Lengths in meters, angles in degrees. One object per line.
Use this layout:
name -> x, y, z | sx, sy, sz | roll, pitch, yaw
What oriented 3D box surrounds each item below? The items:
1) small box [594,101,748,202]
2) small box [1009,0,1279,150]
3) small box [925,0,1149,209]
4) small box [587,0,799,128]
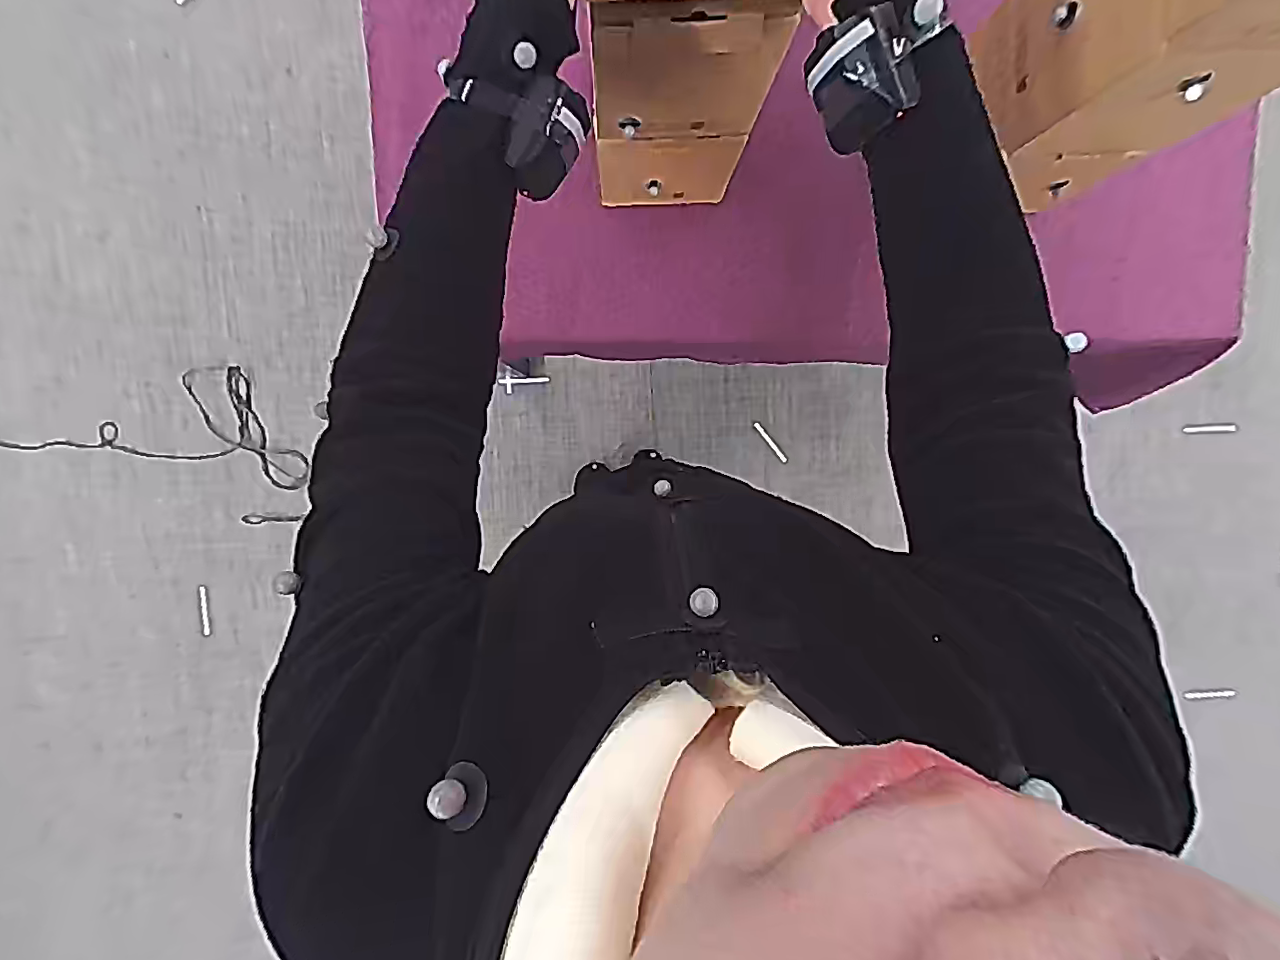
small box -> 0.028, -0.460, 0.650 | 0.168, 0.176, 0.179 | -3, 96, -2
small box -> 0.483, -0.434, 0.505 | 0.179, 0.176, 0.168 | -3, 96, -3
small box -> 0.477, -0.452, 0.668 | 0.168, 0.176, 0.179 | -2, 95, -2
small box -> 0.034, -0.445, 0.486 | 0.168, 0.176, 0.179 | -4, 95, -3
